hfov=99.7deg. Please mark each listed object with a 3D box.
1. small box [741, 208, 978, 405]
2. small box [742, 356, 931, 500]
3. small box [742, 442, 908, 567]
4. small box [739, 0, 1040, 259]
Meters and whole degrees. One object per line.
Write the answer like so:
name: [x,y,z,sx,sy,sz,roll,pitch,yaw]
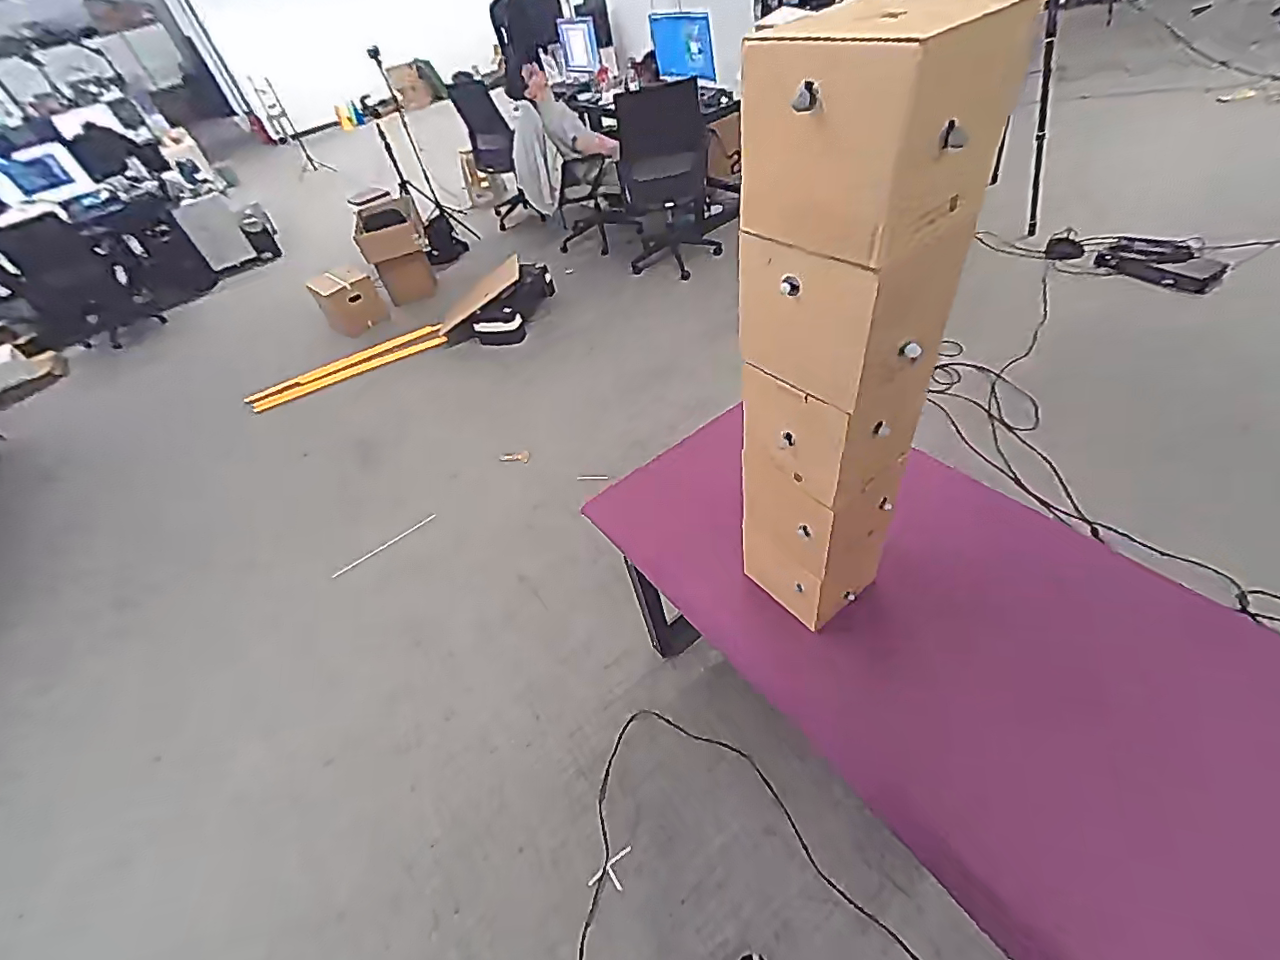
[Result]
small box: [0.233,-0.214,0.618,0.168,0.176,0.179,-34,50,-20]
small box: [0.261,-0.104,0.736,0.179,0.176,0.168,-35,50,-19]
small box: [0.281,0.012,0.850,0.168,0.176,0.179,-33,48,-19]
small box: [0.213,-0.325,0.502,0.168,0.176,0.179,-34,49,-20]
